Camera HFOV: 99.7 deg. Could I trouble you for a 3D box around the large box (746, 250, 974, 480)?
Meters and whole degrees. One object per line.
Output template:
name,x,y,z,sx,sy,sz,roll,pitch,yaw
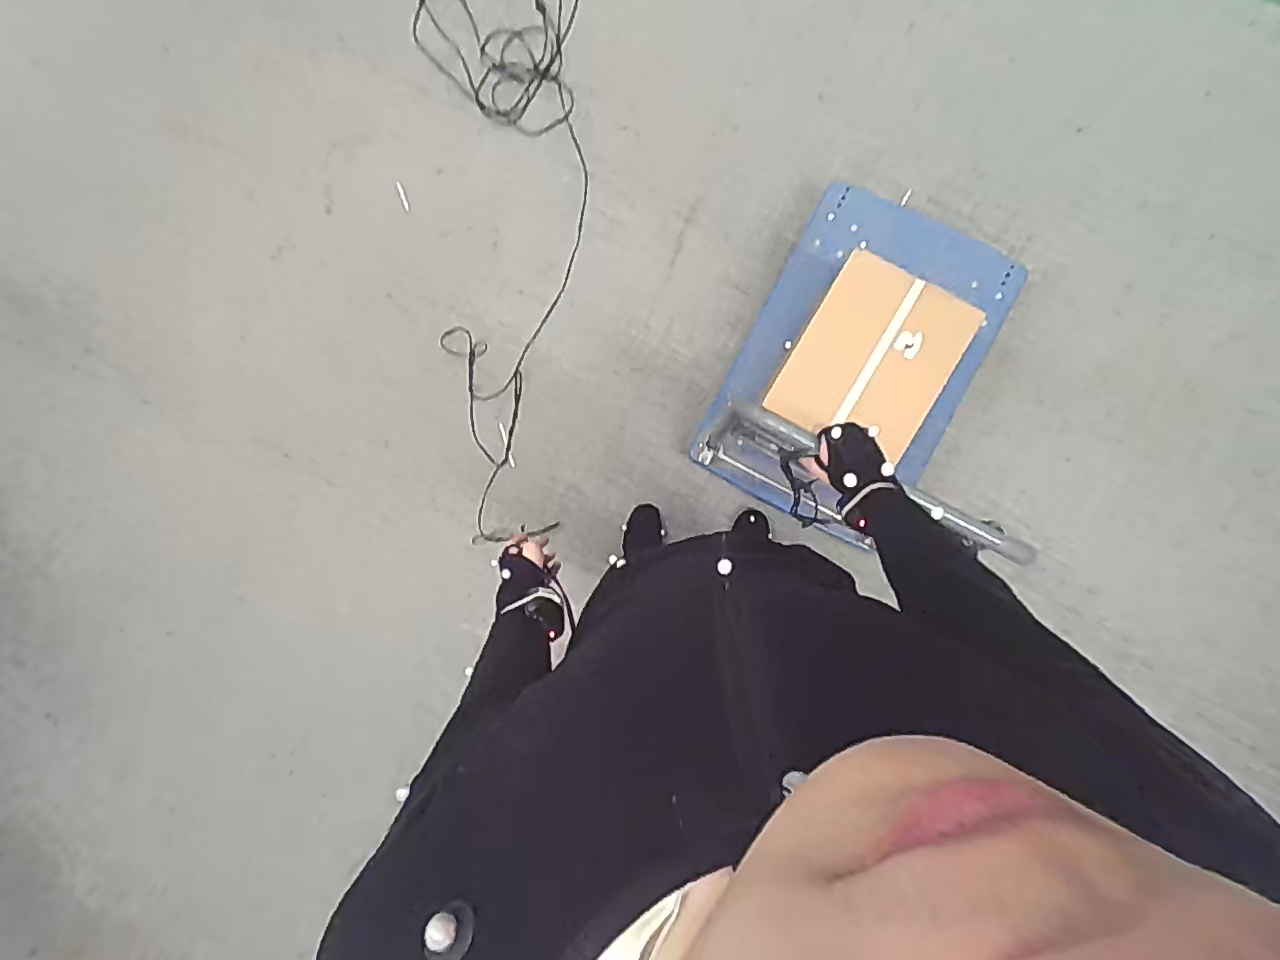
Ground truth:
large box,0.497,-0.249,1.311,0.320,0.320,0.408,31,90,4
